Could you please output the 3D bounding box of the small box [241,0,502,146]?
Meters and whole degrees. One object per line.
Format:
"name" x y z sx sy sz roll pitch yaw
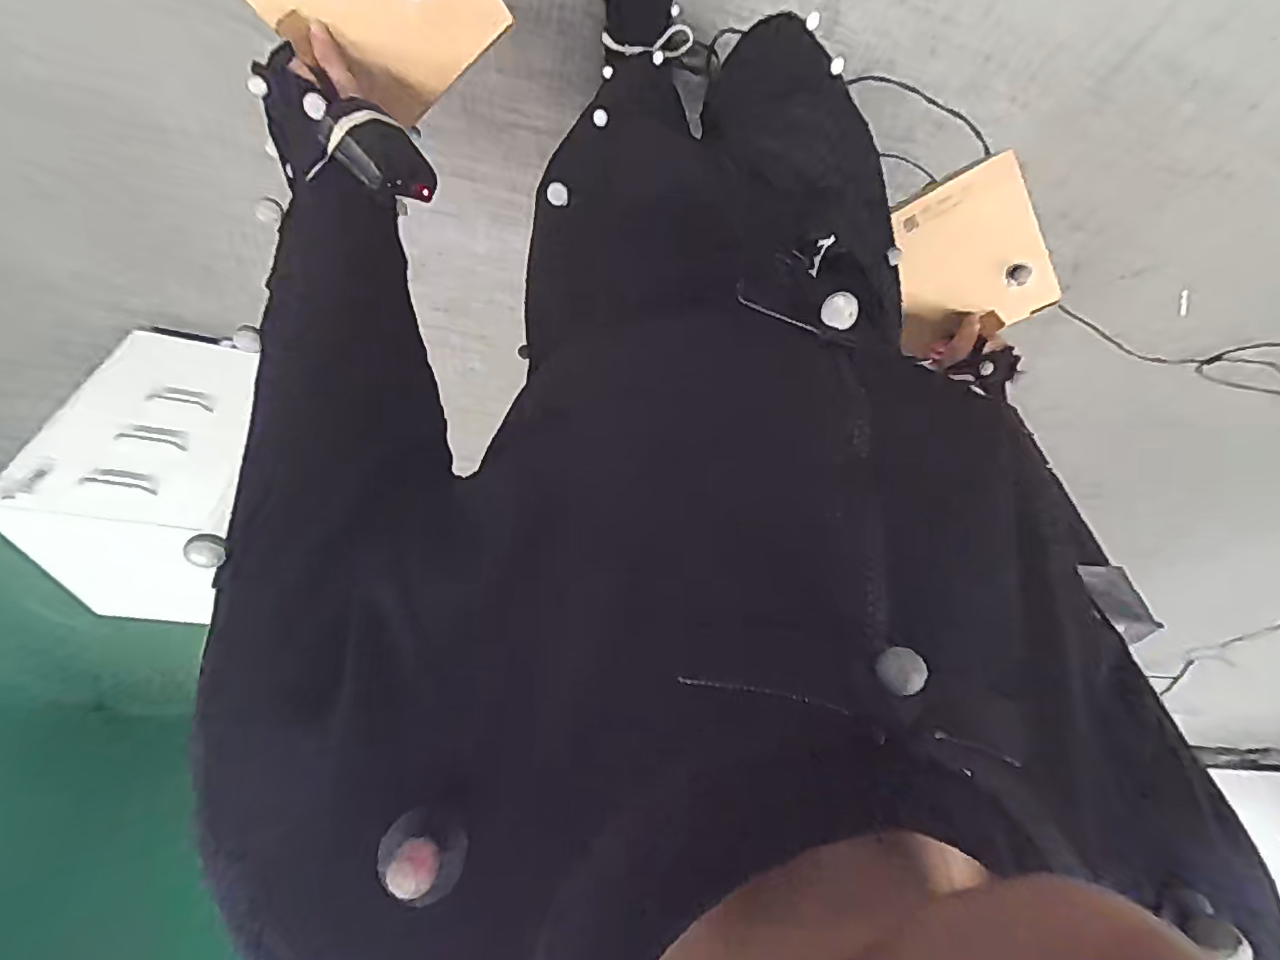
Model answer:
"small box" -0.247 -0.445 0.482 0.176 0.179 0.168 -38 135 8
